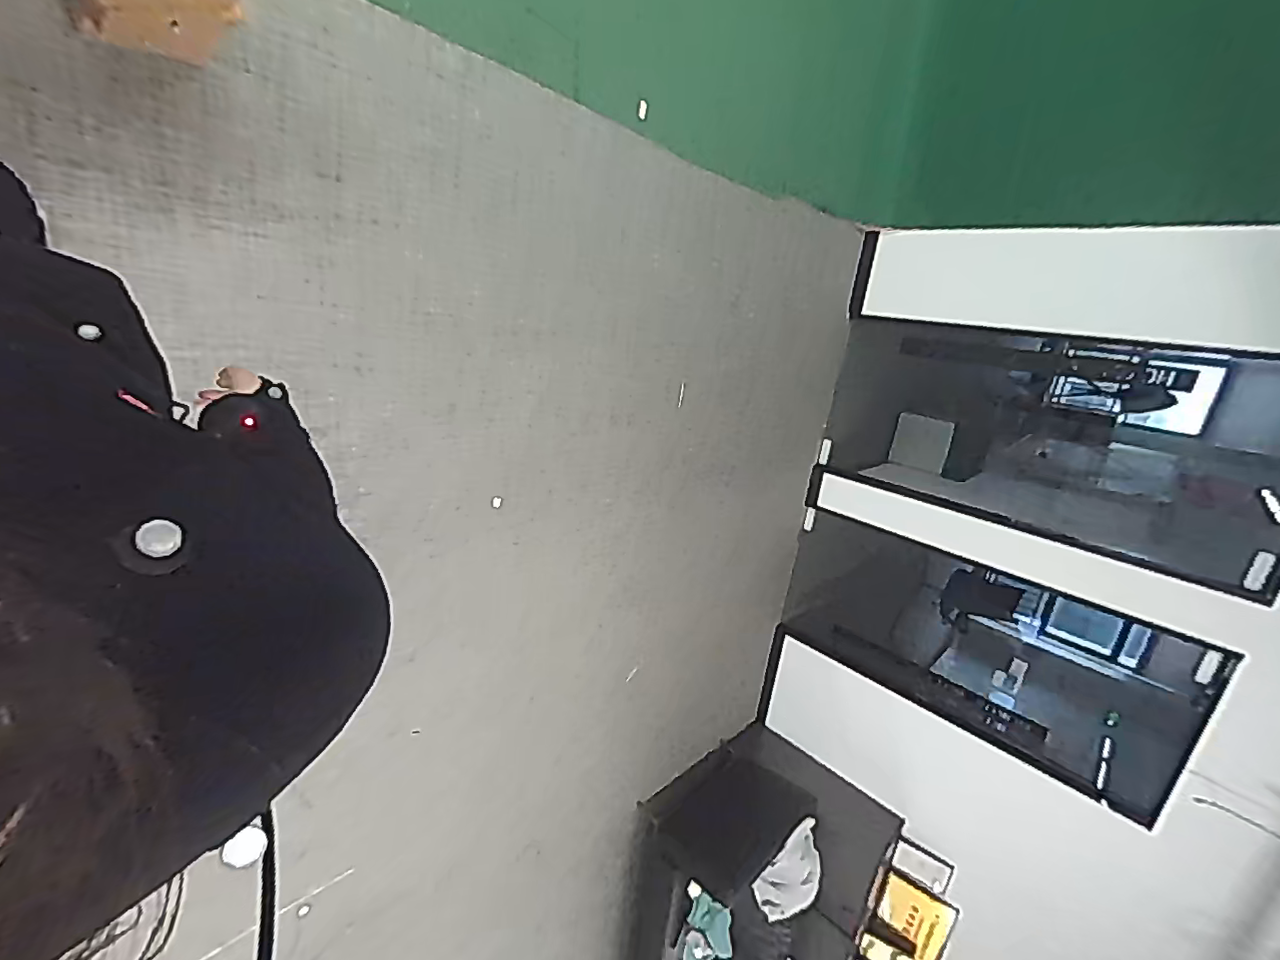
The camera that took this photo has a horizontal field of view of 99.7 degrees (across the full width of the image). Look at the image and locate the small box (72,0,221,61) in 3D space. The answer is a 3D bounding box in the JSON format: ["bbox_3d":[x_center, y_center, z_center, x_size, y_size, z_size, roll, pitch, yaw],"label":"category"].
[{"bbox_3d":[-0.835,-0.829,0.899,0.179,0.176,0.168,-18,121,-42],"label":"small box"}]

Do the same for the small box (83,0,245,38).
[{"bbox_3d":[-0.729,-0.768,0.792,0.179,0.176,0.168,-32,131,-35],"label":"small box"}]

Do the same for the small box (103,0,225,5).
[{"bbox_3d":[-0.625,-0.720,0.675,0.179,0.176,0.168,-36,132,-32],"label":"small box"}]
